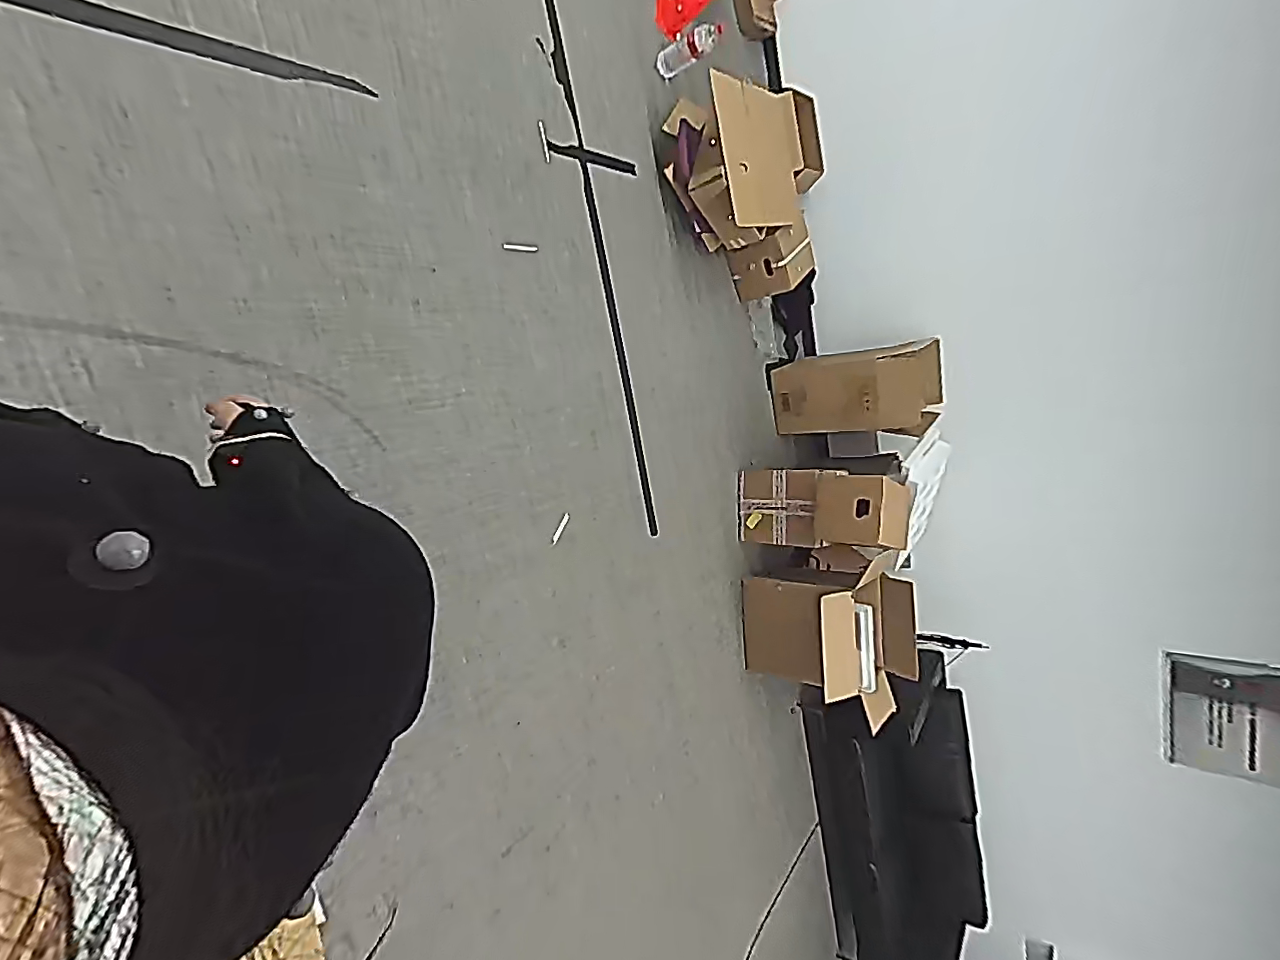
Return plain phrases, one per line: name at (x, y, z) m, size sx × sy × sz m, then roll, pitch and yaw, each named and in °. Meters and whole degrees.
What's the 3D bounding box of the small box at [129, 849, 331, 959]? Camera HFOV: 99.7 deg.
small box at (-0.521, 0.618, 0.694) m, size 0.168 × 0.176 × 0.179 m, roll -15°, pitch 100°, yaw -49°
